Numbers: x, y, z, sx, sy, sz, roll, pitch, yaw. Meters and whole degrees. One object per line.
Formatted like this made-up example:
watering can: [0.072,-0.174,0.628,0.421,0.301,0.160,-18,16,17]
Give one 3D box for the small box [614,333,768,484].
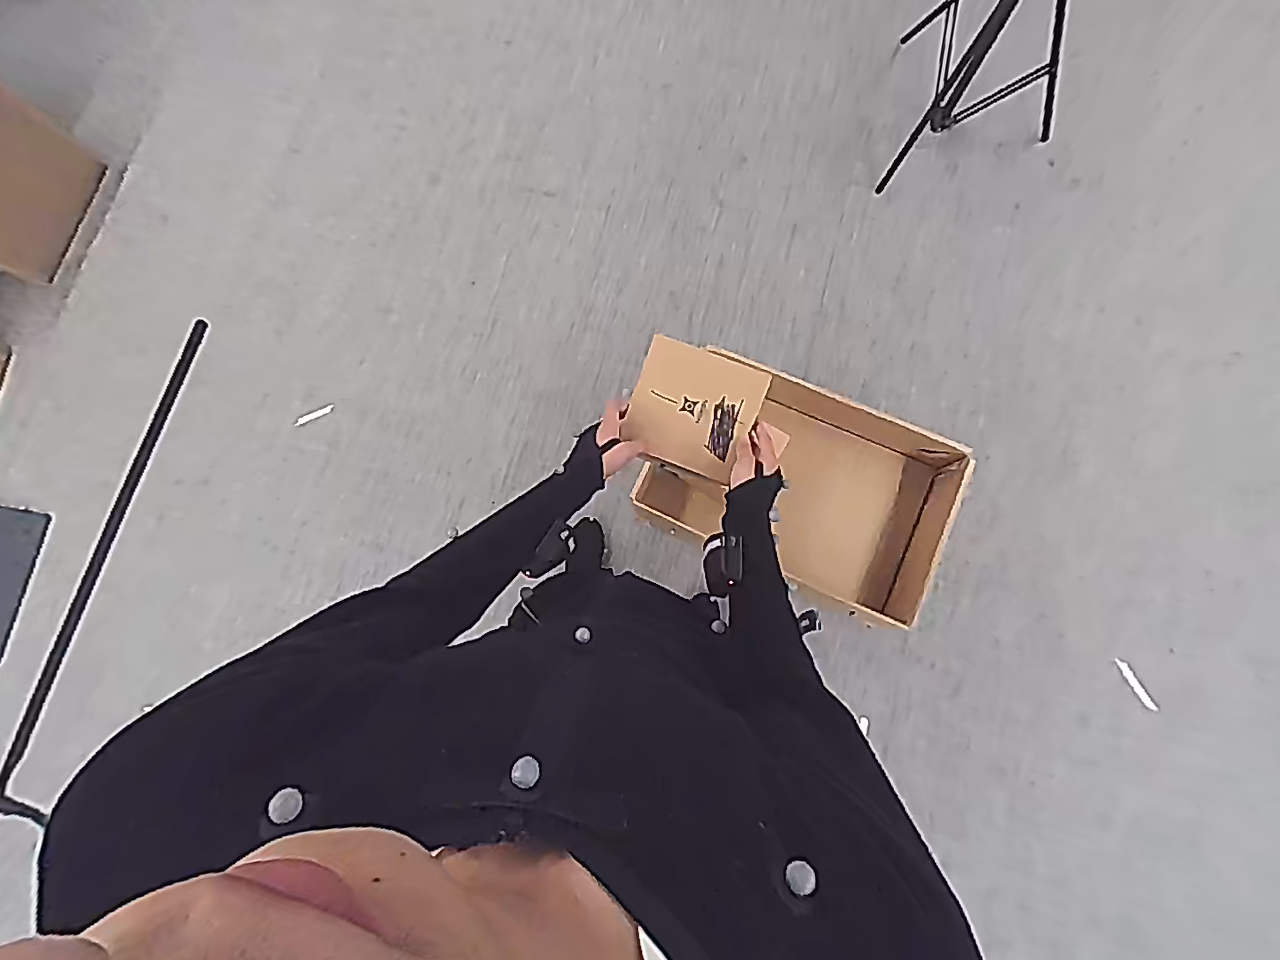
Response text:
small box: [0.068,-0.102,0.831,0.179,0.176,0.168,20,89,-3]
